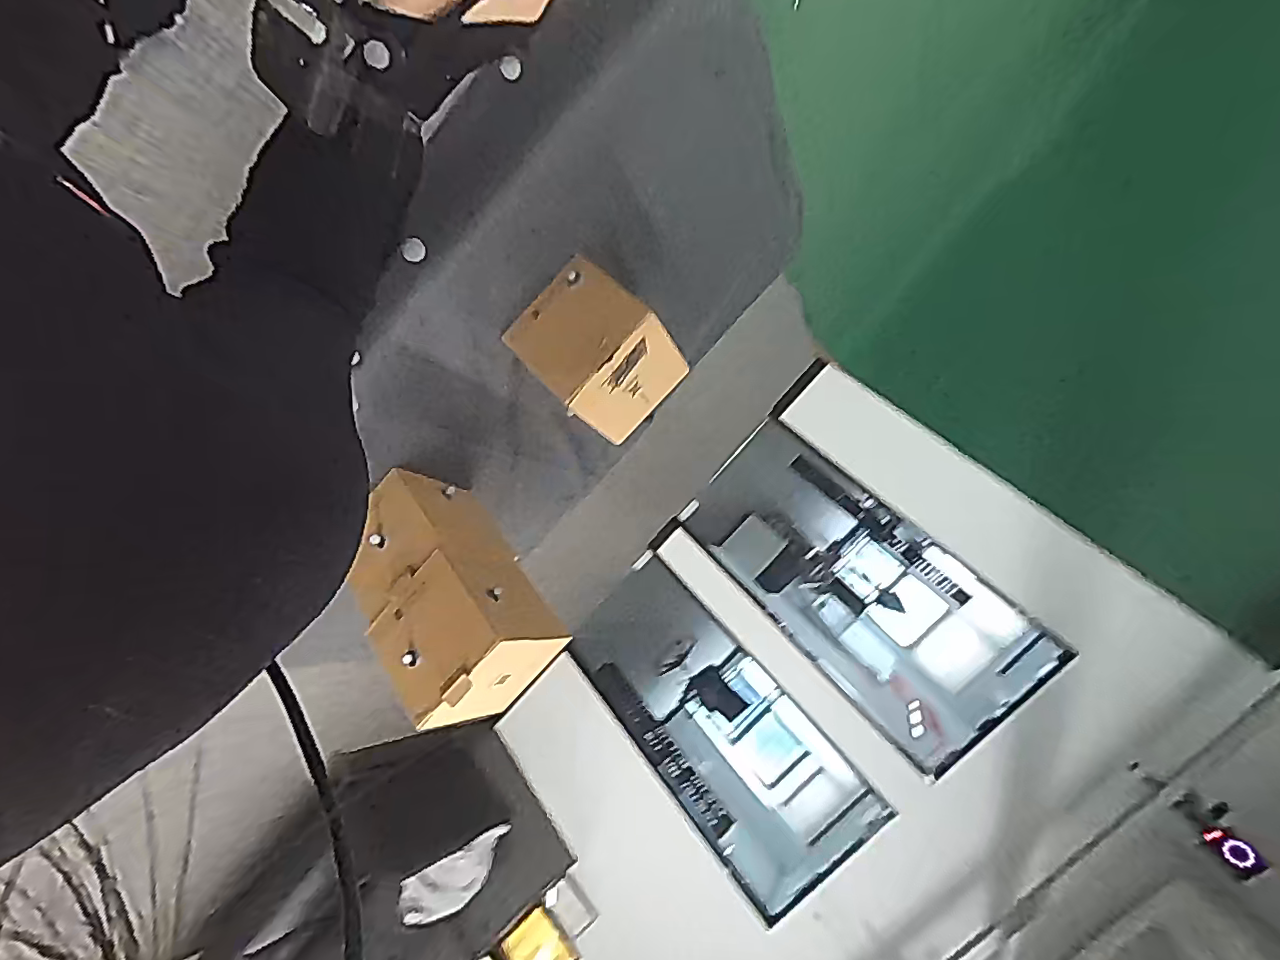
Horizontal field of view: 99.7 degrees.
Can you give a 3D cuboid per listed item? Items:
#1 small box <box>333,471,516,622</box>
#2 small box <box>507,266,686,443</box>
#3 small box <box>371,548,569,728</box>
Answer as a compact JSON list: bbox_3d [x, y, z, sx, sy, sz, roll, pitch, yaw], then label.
[{"bbox_3d":[-0.338,0.108,0.849,0.168,0.176,0.179,-47,153,6],"label":"small box"},{"bbox_3d":[-0.064,-0.189,0.807,0.168,0.176,0.179,-46,155,4],"label":"small box"},{"bbox_3d":[-0.242,0.216,0.773,0.168,0.176,0.179,-47,154,7],"label":"small box"}]
